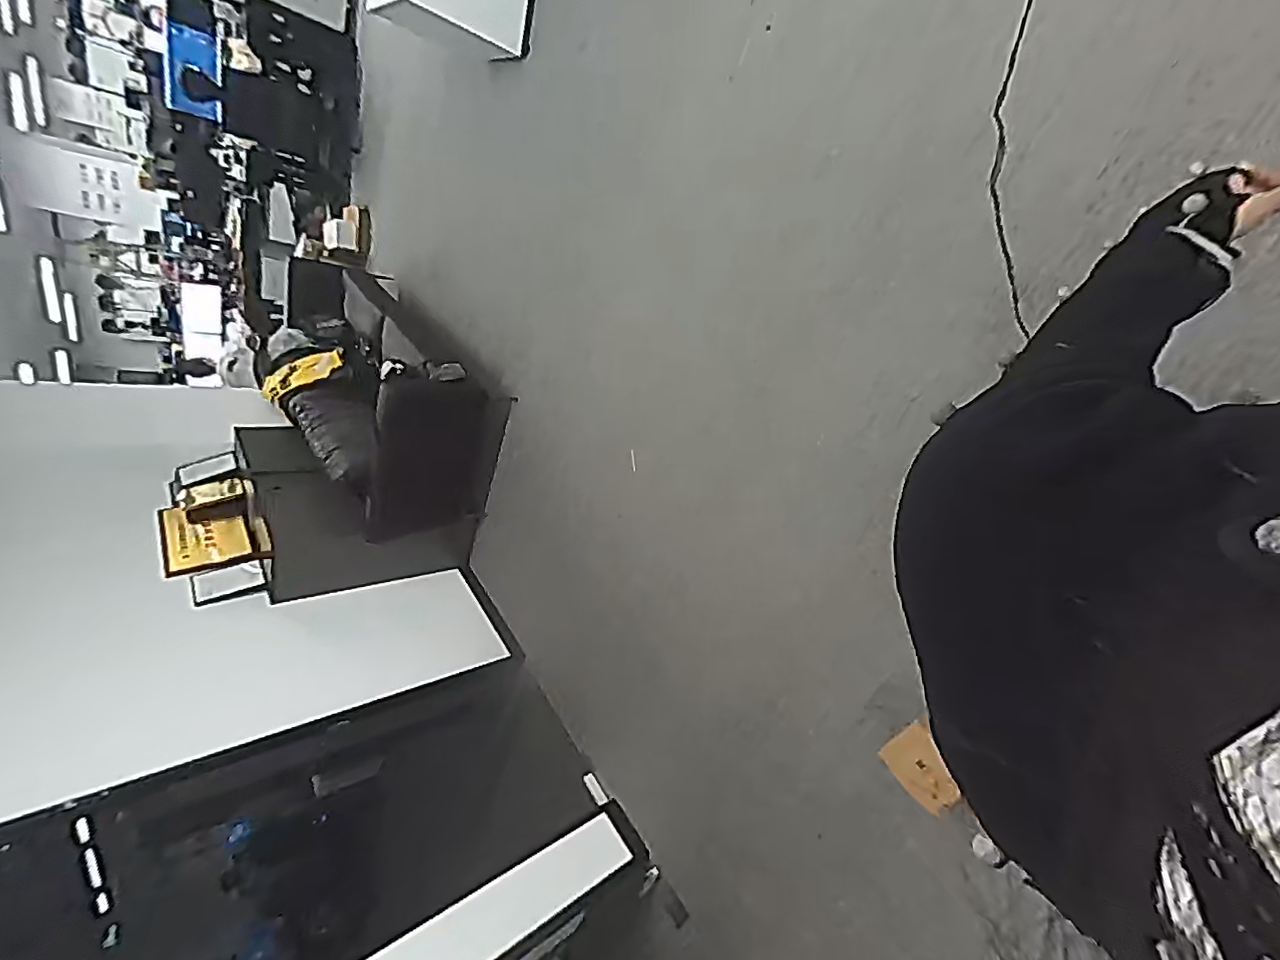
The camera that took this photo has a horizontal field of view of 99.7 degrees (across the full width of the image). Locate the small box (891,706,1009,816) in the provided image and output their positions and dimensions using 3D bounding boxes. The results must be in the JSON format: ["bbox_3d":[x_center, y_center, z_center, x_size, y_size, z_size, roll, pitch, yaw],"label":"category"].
[{"bbox_3d":[0.796,0.708,1.389,0.179,0.176,0.168,49,128,33],"label":"small box"}]
